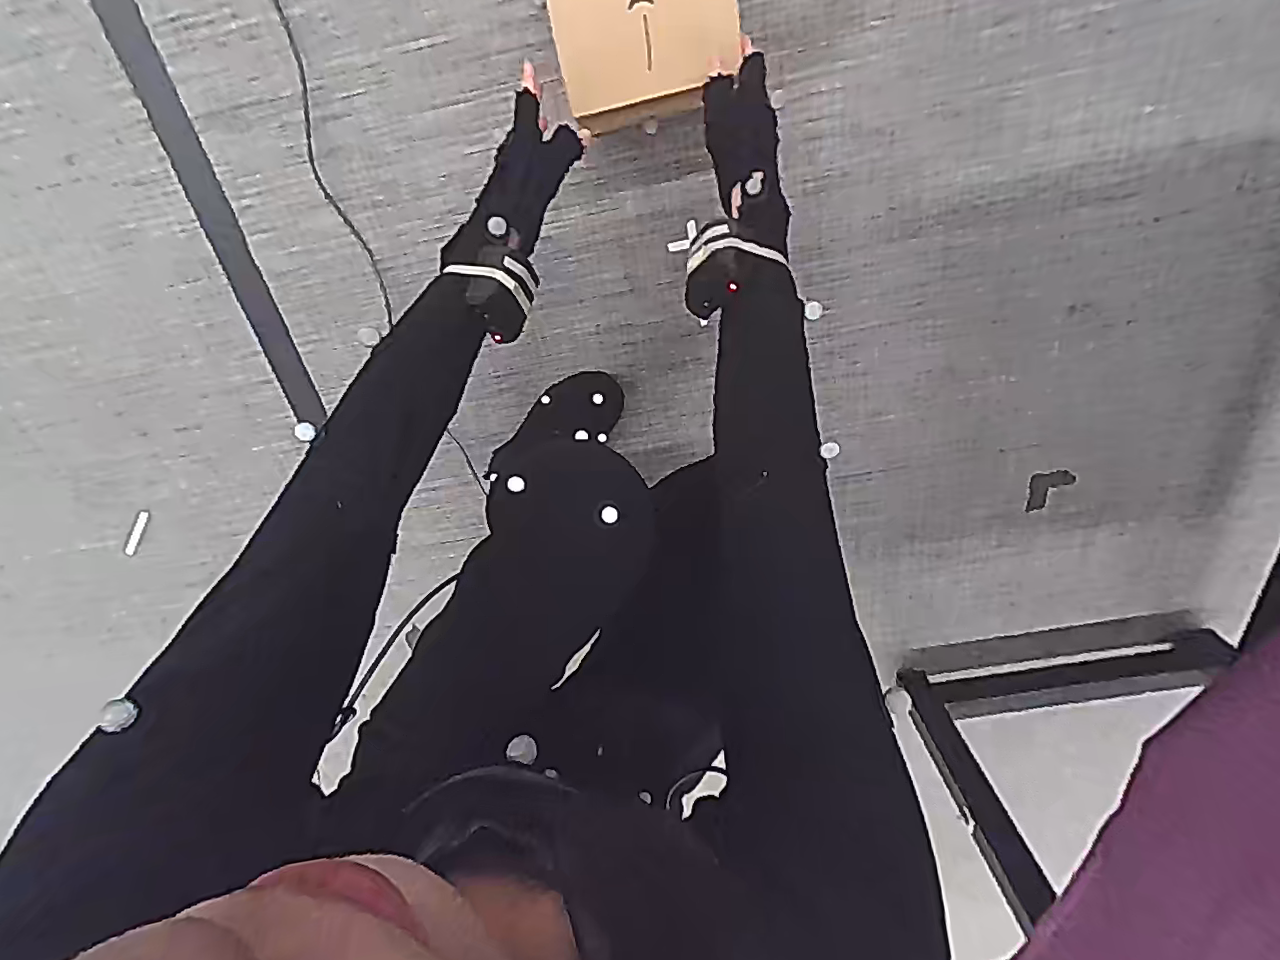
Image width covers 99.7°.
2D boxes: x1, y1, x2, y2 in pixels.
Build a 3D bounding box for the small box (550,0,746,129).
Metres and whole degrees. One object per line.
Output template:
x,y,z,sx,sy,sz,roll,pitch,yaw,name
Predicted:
-0.001,-0.468,0.526,0.168,0.176,0.179,-10,118,5,small box
